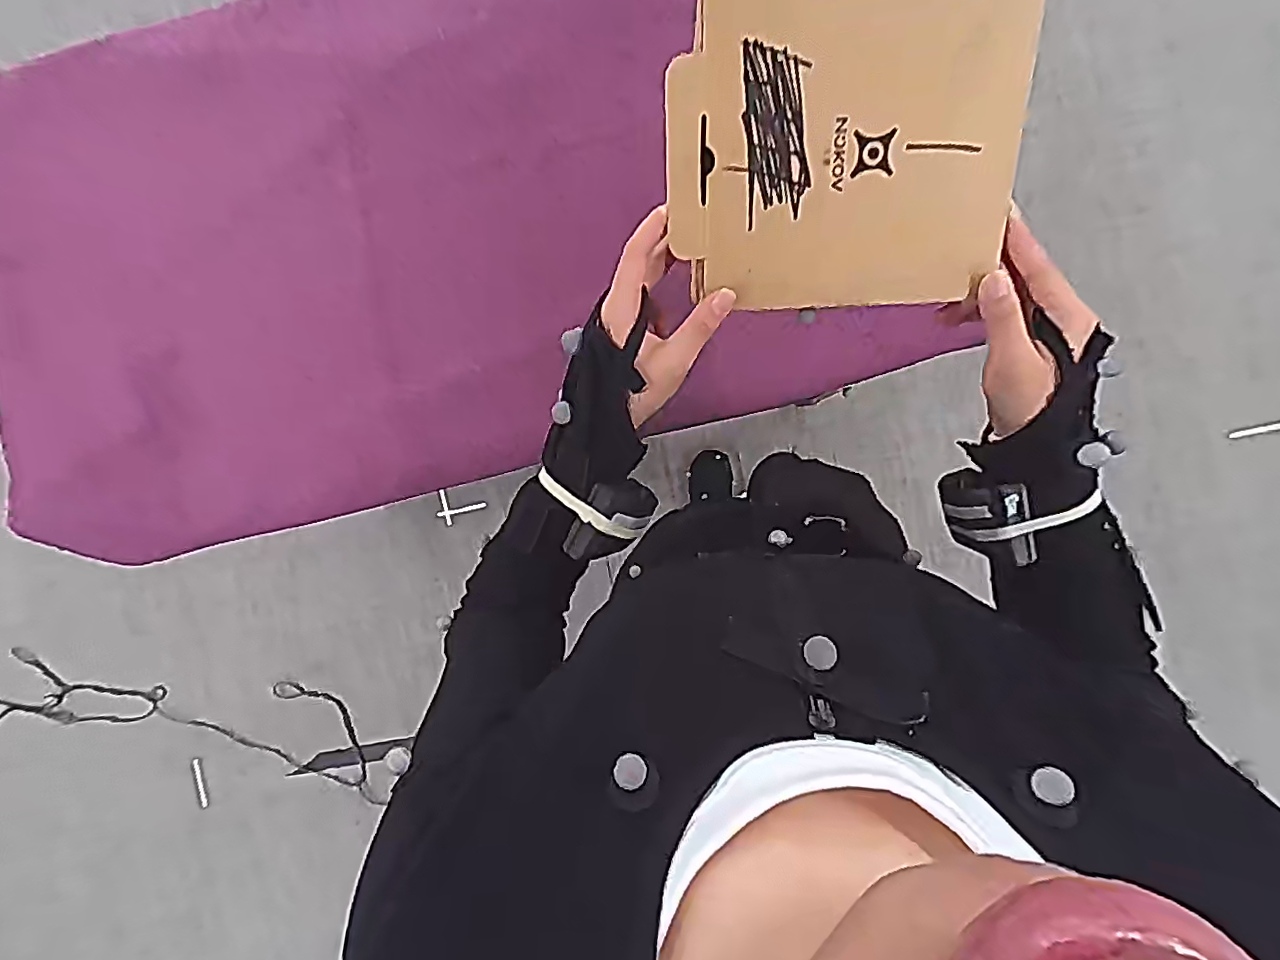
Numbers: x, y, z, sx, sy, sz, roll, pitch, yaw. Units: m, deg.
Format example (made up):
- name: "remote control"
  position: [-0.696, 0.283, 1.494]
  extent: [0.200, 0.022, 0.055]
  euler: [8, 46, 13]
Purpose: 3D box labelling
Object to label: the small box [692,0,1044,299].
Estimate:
- name: "small box"
  position: [0.126, -0.215, 0.375]
  extent: [0.179, 0.176, 0.168]
  euler: [-1, 111, 3]
